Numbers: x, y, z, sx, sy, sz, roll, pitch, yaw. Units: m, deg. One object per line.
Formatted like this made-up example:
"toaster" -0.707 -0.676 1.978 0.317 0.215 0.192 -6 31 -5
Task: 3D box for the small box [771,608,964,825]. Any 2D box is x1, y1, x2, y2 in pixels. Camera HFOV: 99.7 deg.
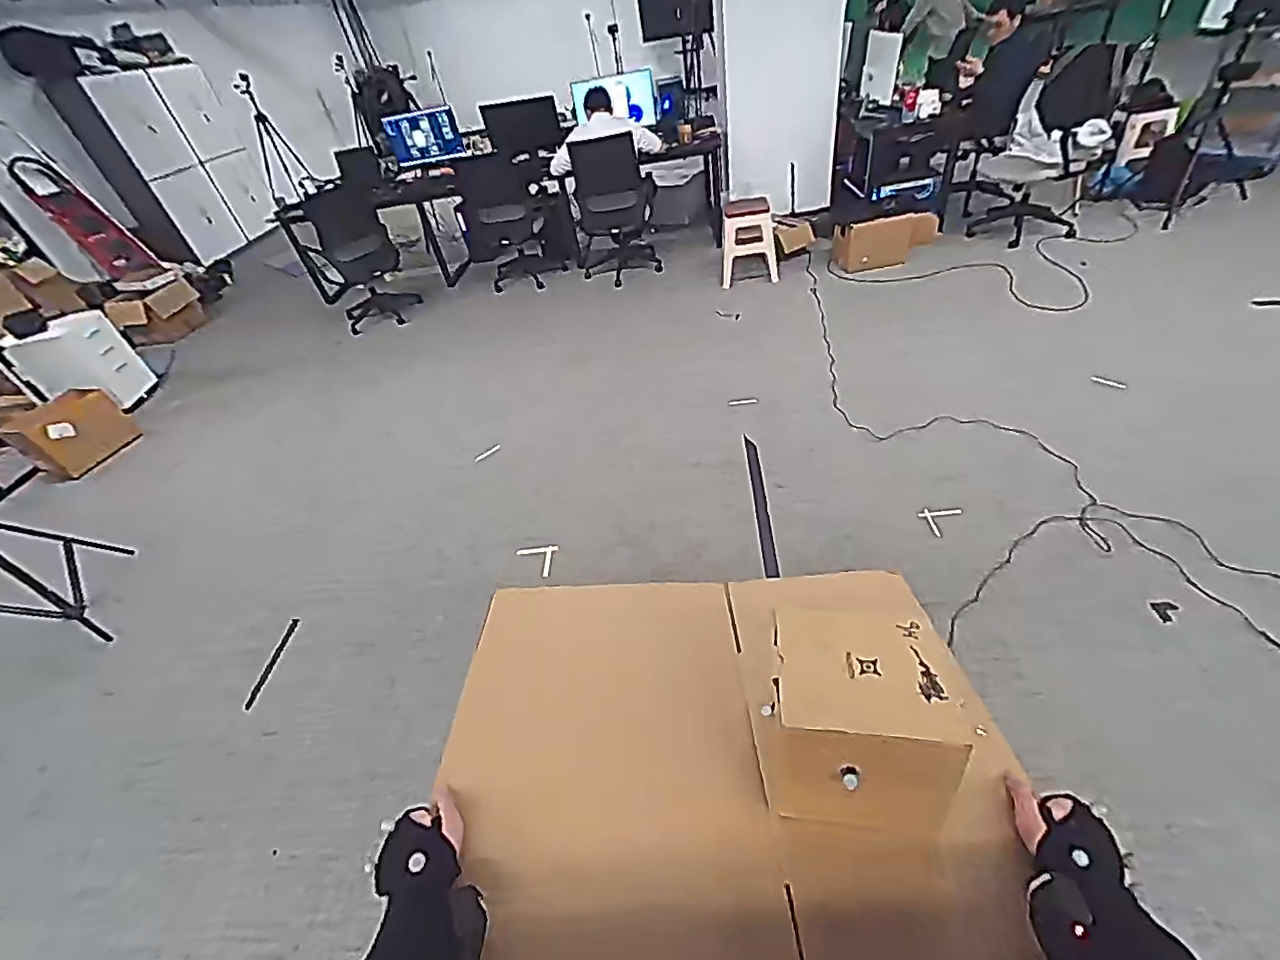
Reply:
"small box" 0.246 0.271 0.630 0.179 0.176 0.168 -1 33 13
